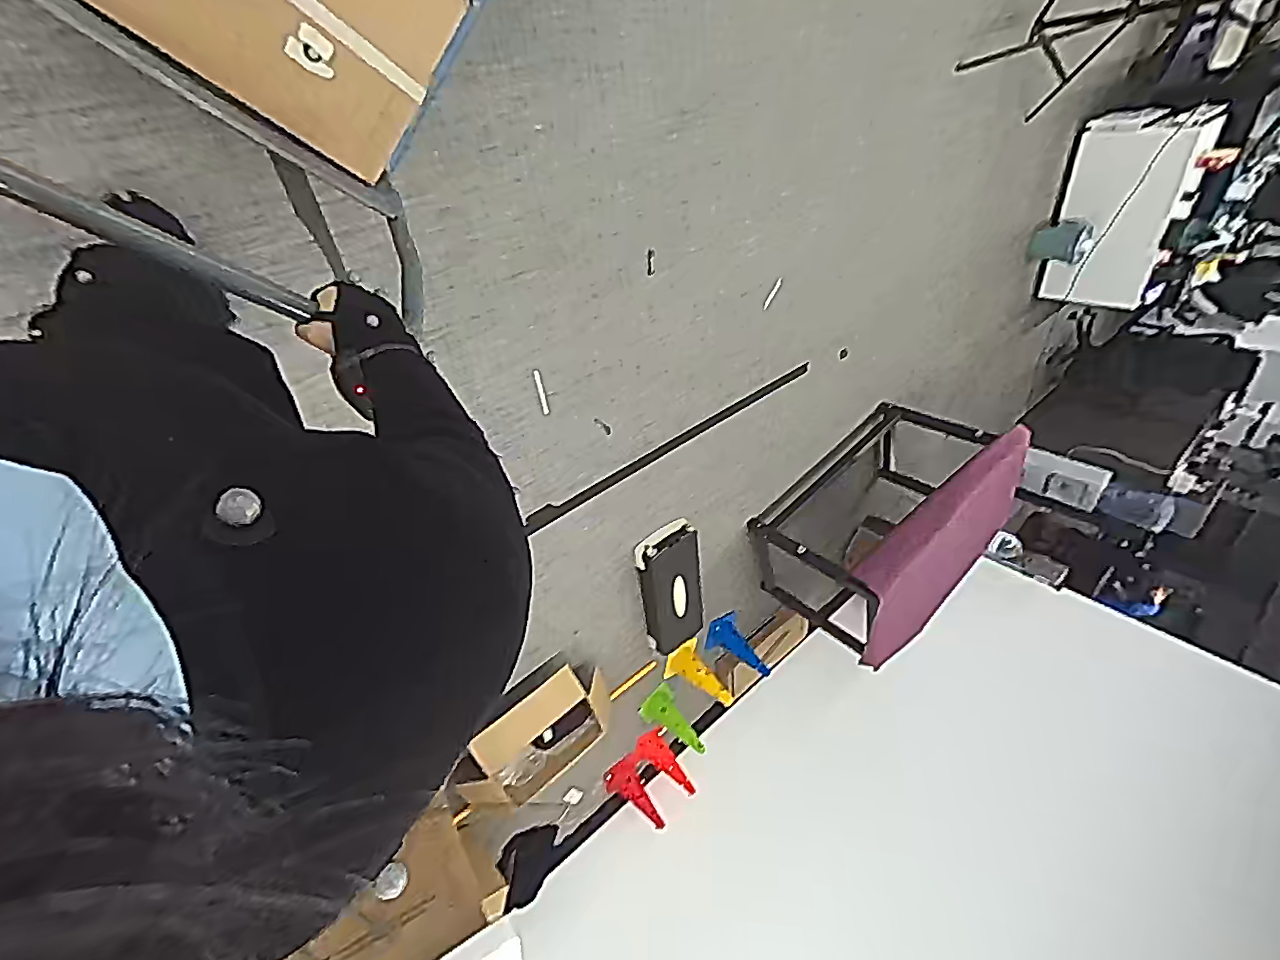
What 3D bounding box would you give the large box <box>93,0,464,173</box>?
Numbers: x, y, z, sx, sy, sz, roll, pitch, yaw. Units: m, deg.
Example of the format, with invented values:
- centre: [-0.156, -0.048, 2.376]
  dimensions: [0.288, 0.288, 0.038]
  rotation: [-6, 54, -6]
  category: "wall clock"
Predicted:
- centre: [-0.536, -0.744, 0.773]
  dimensions: [0.320, 0.320, 0.408]
  rotation: [-48, 141, 18]
  category: "large box"
